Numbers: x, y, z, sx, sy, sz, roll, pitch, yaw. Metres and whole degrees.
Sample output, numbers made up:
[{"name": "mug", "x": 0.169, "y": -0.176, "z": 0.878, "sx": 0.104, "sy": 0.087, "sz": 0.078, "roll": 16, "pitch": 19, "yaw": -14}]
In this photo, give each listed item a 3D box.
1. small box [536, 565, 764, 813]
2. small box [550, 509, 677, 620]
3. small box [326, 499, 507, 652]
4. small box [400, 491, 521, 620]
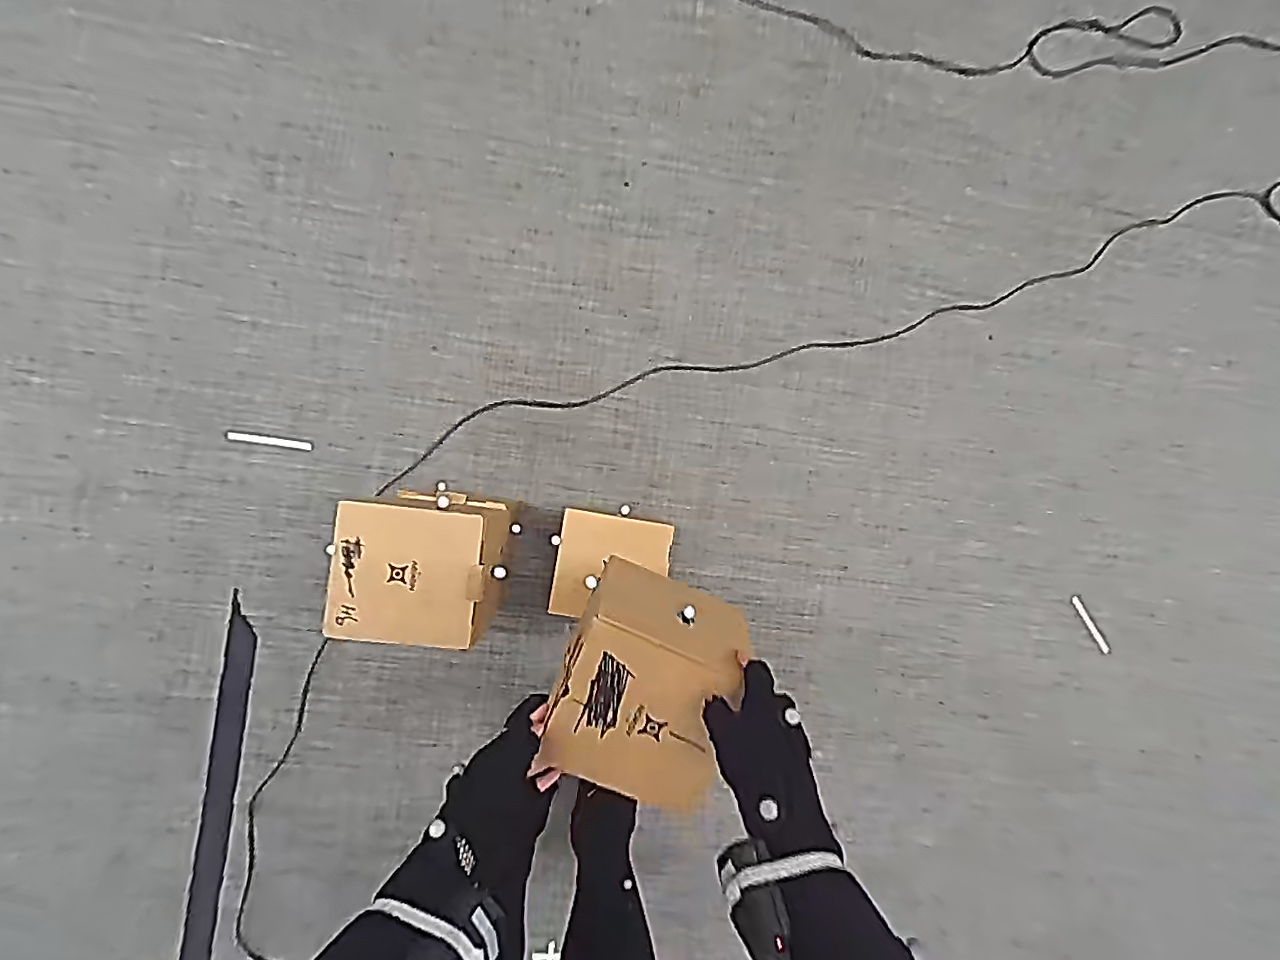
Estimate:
[{"name": "small box", "x": 0.009, "y": 0.213, "z": 0.601, "sx": 0.179, "sy": 0.176, "sz": 0.168, "roll": 23, "pitch": 102, "yaw": -4}, {"name": "small box", "x": -0.049, "y": 0.143, "z": 0.916, "sx": 0.179, "sy": 0.176, "sz": 0.168, "roll": 10, "pitch": 89, "yaw": -7}, {"name": "small box", "x": -0.283, "y": 0.118, "z": 0.726, "sx": 0.179, "sy": 0.176, "sz": 0.168, "roll": 8, "pitch": 89, "yaw": -5}, {"name": "small box", "x": -0.296, "y": 0.114, "z": 0.890, "sx": 0.168, "sy": 0.176, "sz": 0.179, "roll": 8, "pitch": 90, "yaw": -5}]
